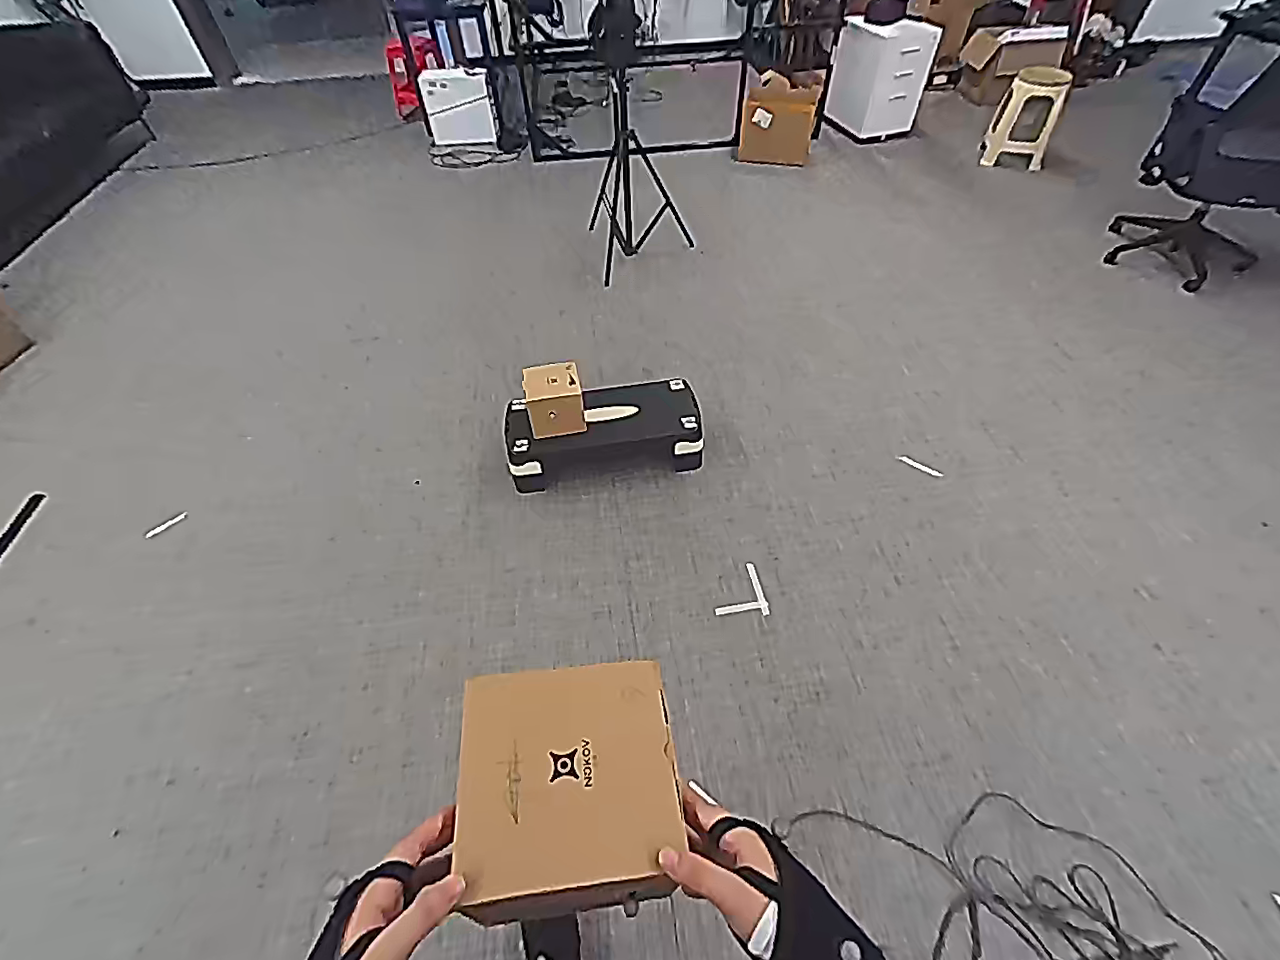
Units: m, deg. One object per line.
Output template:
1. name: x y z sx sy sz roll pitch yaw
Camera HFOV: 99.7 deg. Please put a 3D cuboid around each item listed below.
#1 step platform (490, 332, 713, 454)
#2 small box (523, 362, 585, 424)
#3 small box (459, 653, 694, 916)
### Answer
1. step platform: -0.118 -0.279 1.745 0.684 0.204 0.286 -8 50 -5
2. small box: -0.279 -0.260 1.782 0.179 0.176 0.168 -11 51 -6
3. small box: -0.060 0.285 0.508 0.179 0.176 0.168 -5 46 -8
